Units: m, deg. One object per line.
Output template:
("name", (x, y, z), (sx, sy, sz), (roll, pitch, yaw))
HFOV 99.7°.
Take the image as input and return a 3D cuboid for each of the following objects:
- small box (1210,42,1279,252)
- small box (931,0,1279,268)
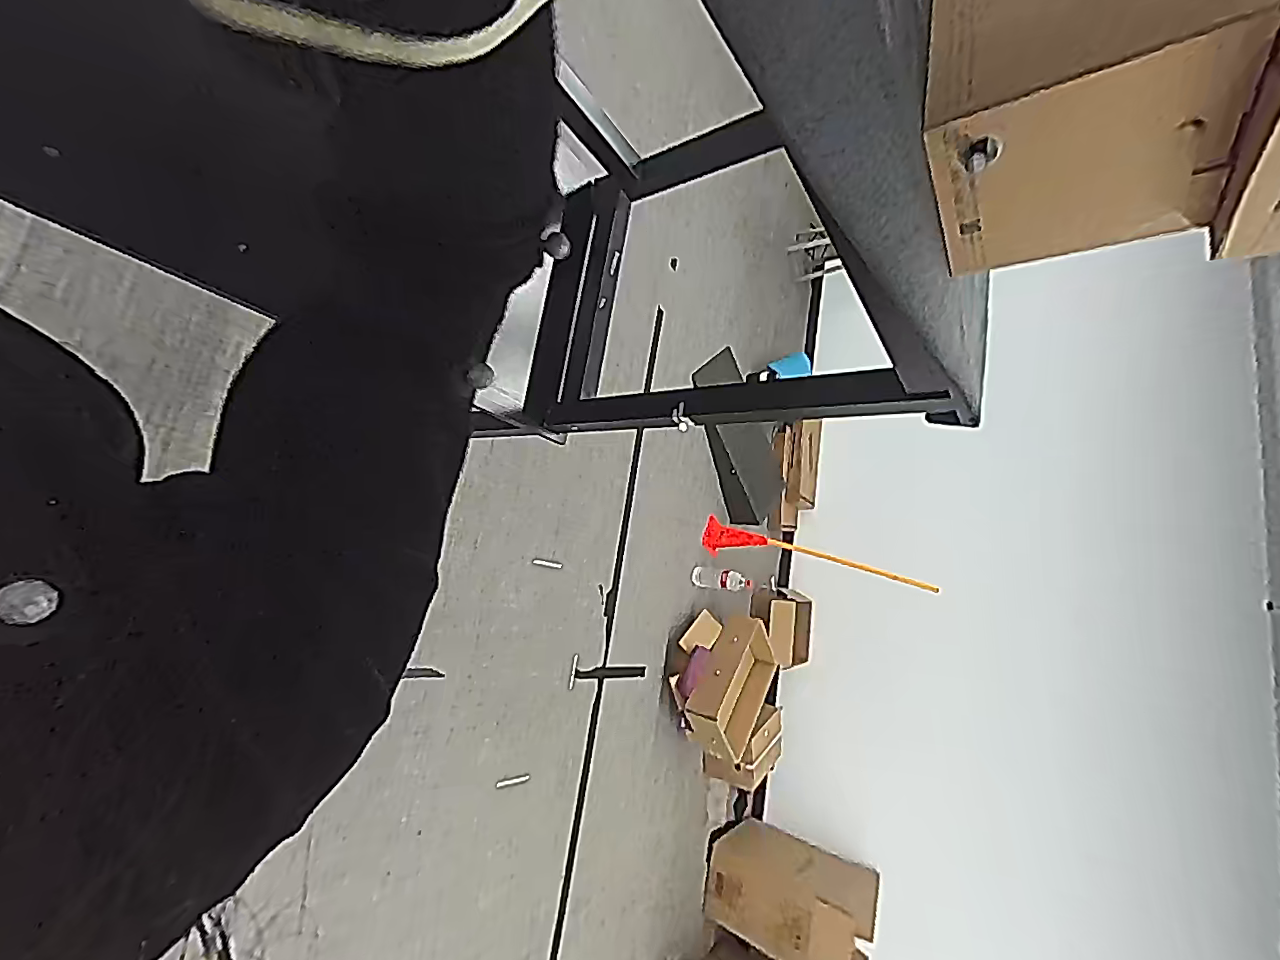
("small box", (0.449, -0.259, 0.301), (0.168, 0.176, 0.179), (21, 73, -53))
("small box", (0.323, -0.290, 0.403), (0.168, 0.176, 0.179), (30, 65, -50))
